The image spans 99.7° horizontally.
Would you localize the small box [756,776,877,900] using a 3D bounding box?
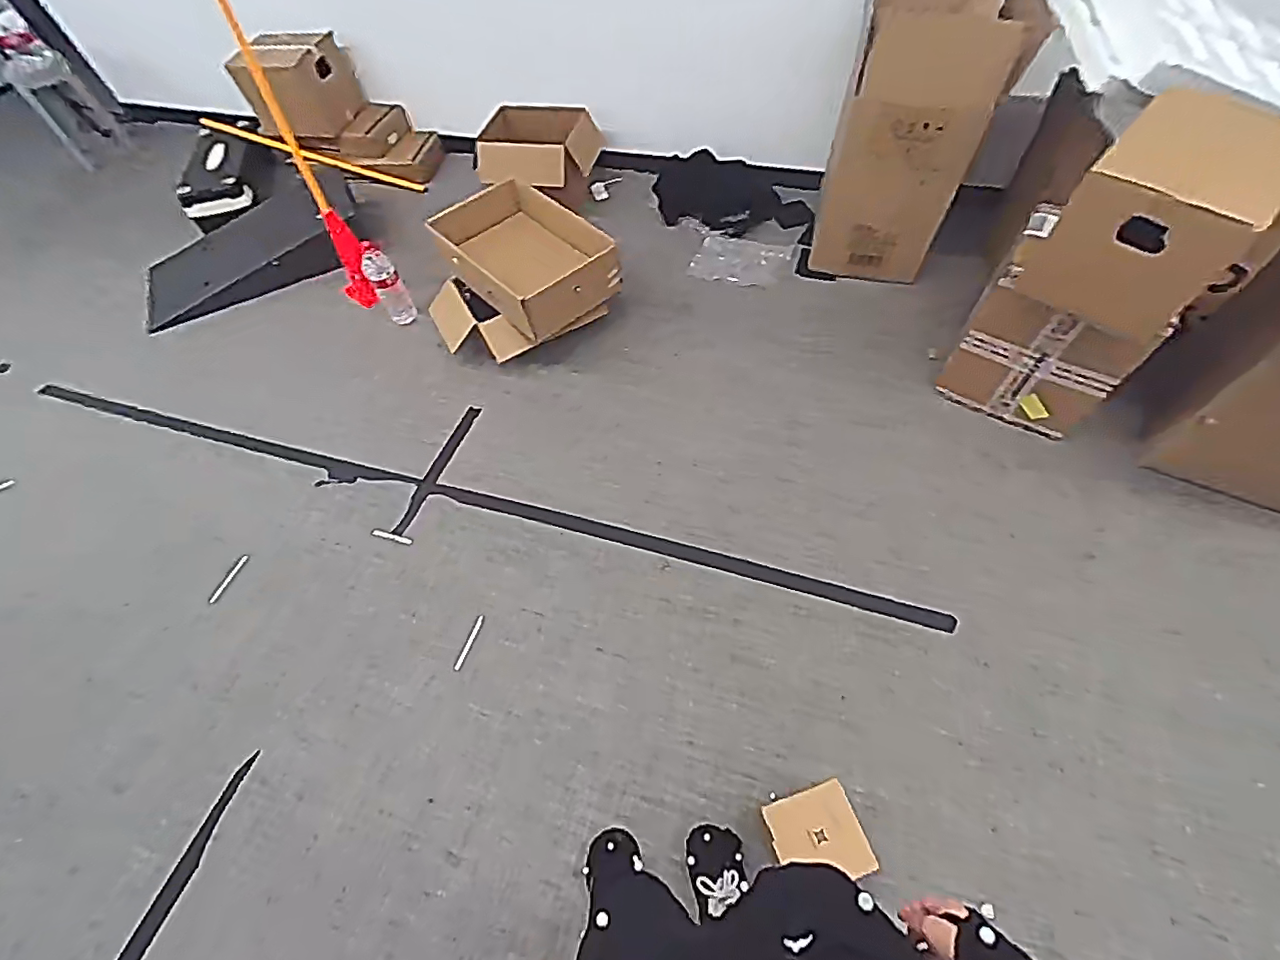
[{"bbox_3d":[0.354,0.743,1.132,0.179,0.176,0.168,-18,59,-8],"label":"small box"}]
